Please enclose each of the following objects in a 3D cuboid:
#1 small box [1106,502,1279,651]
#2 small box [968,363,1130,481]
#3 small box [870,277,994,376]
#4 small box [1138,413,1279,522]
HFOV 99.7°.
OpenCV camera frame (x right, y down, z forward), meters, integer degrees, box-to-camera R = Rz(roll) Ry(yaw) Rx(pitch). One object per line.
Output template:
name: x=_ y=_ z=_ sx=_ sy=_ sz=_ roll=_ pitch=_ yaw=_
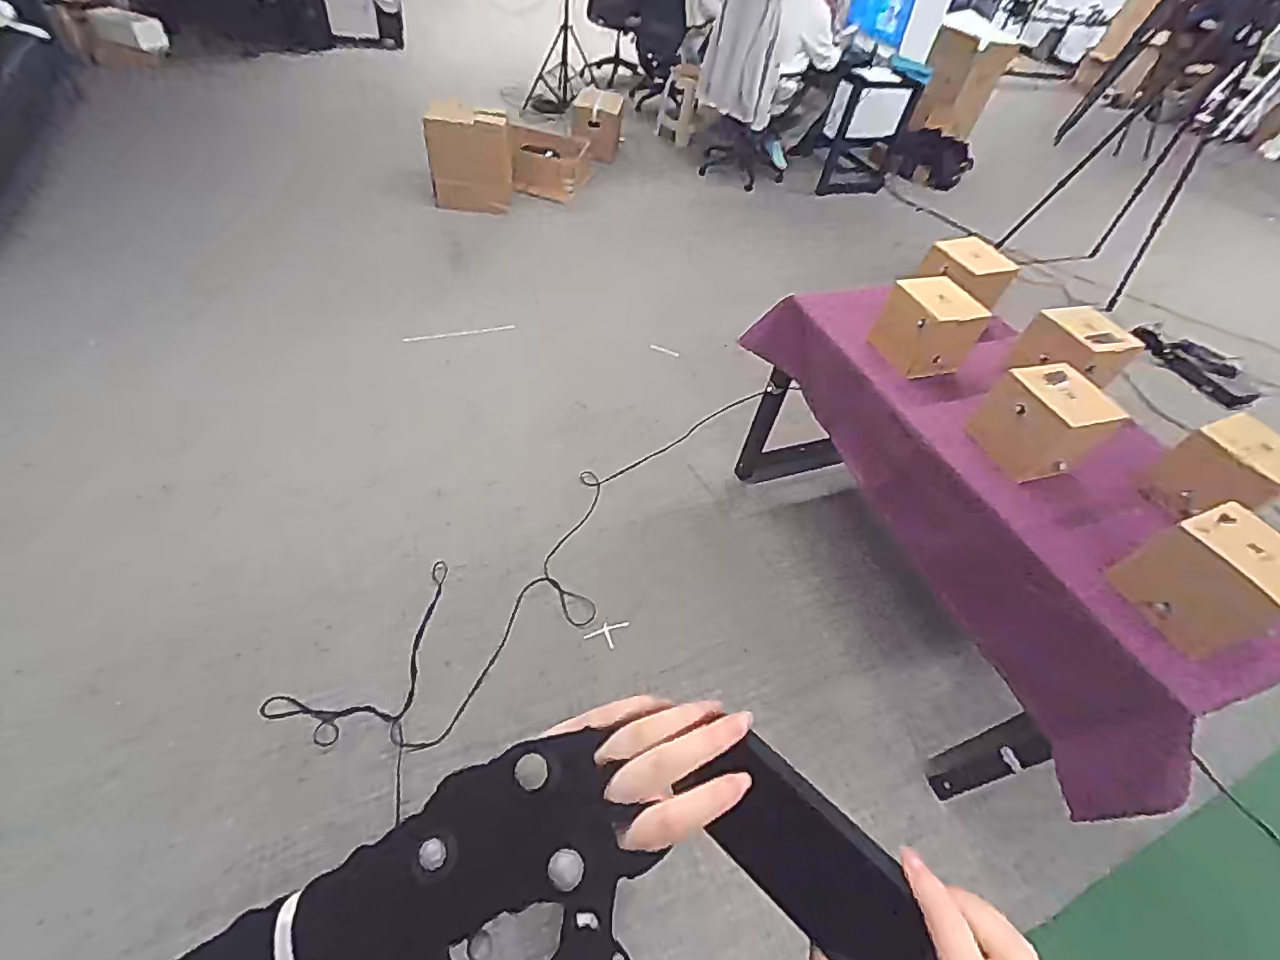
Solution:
small box: x=0.968 y=0.169 z=0.914 sx=0.168 sy=0.176 sz=0.179 roll=-12 pitch=53 yaw=-20
small box: x=0.849 y=-0.123 z=1.144 sx=0.168 sy=0.176 sz=0.179 roll=-9 pitch=53 yaw=-17
small box: x=0.710 y=-0.381 z=1.341 sx=0.168 sy=0.176 sz=0.179 roll=-11 pitch=54 yaw=-18
small box: x=1.194 y=-0.010 z=1.105 sx=0.179 sy=0.176 sz=0.168 roll=-14 pitch=53 yaw=-20
